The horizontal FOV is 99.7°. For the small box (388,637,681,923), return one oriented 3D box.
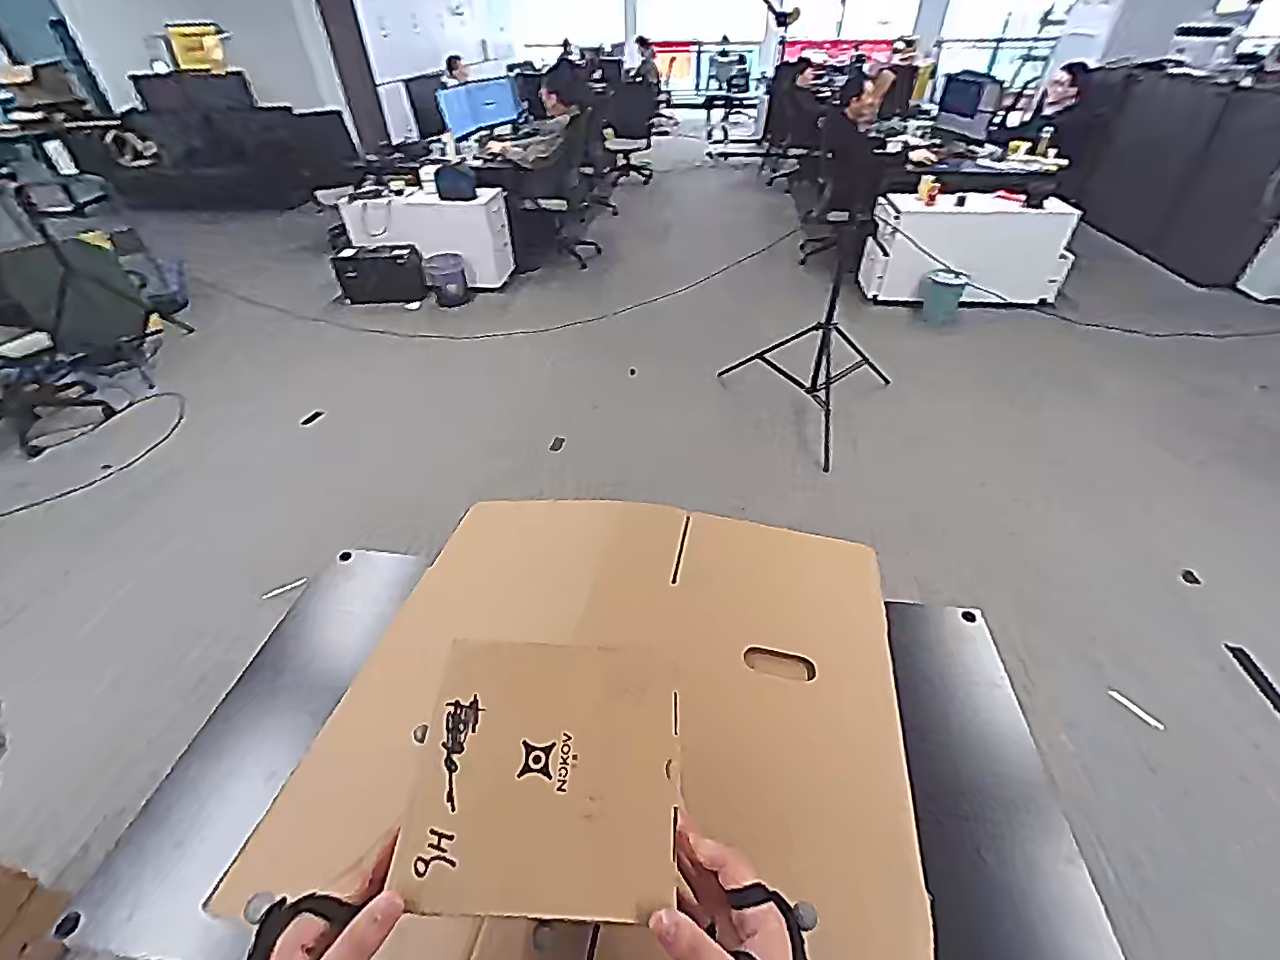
[{"bbox_3d":[-0.067,0.244,0.433,0.179,0.176,0.168,5,49,-3],"label":"small box"}]

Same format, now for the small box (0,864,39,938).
[{"bbox_3d":[-1.333,0.834,1.022,0.168,0.176,0.179,0,40,1],"label":"small box"}]

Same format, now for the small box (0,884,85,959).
[{"bbox_3d":[-1.331,0.963,1.123,0.168,0.176,0.179,1,41,3],"label":"small box"}]
